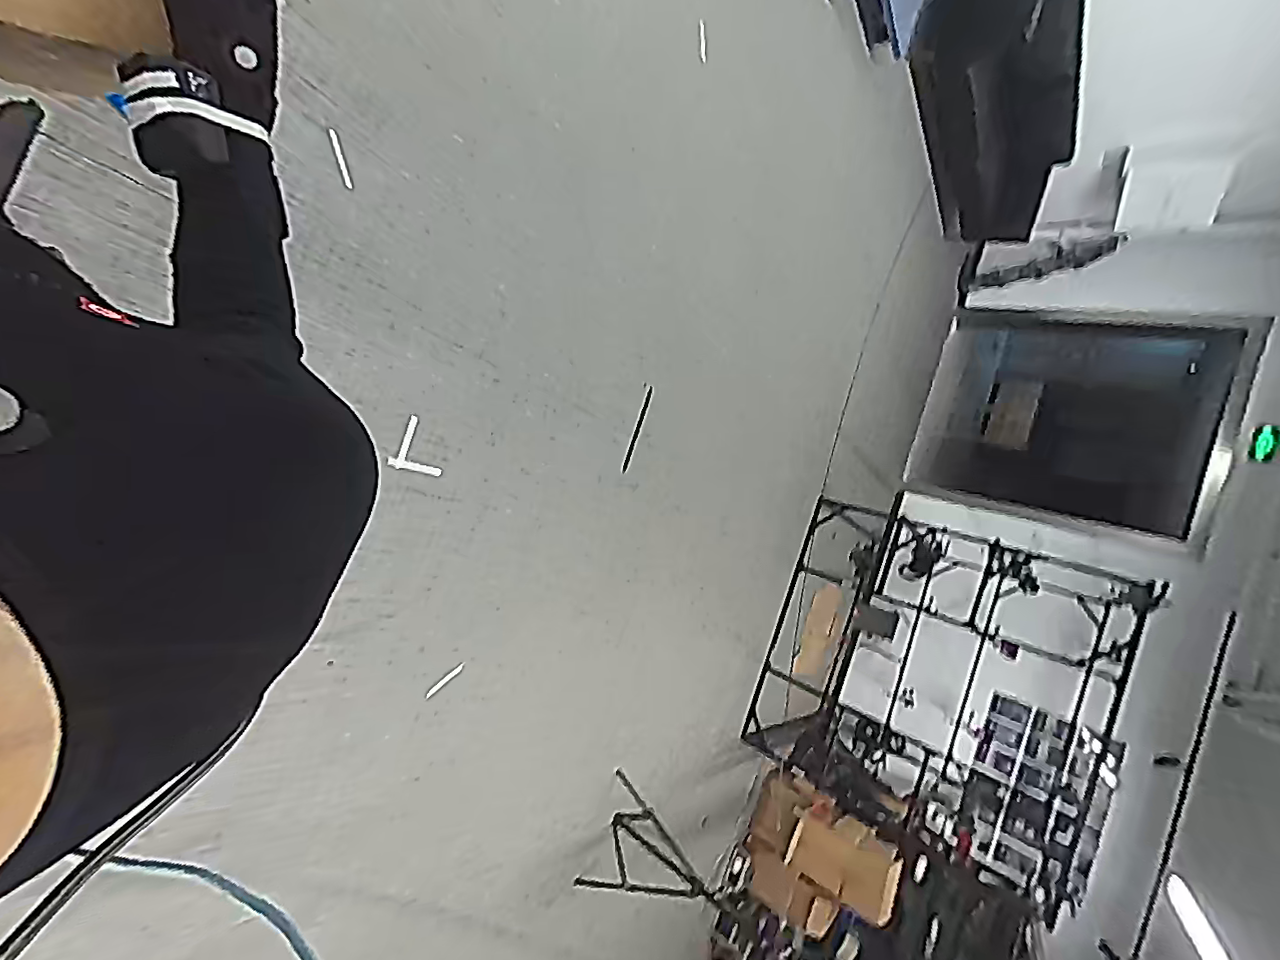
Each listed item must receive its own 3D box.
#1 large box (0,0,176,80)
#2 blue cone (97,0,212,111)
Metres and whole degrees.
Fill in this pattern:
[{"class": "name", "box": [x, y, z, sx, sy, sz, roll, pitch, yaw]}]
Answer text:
[{"class": "large box", "box": [-0.562, -0.460, 0.275, 0.408, 0.320, 0.320, -19, 125, -50]}, {"class": "blue cone", "box": [-0.812, -0.773, 0.895, 0.192, 0.380, 0.193, -57, 141, -20]}]
